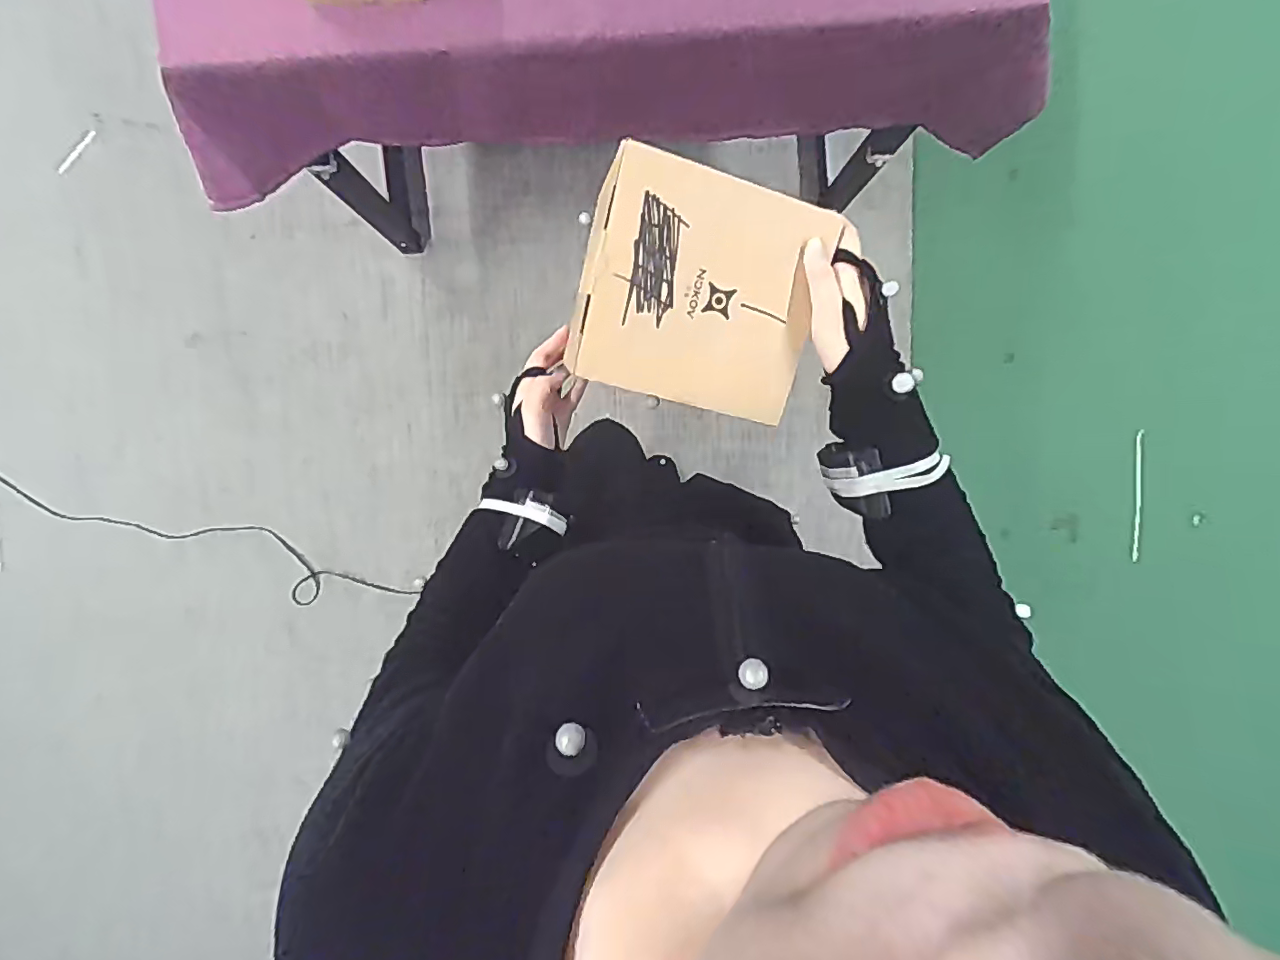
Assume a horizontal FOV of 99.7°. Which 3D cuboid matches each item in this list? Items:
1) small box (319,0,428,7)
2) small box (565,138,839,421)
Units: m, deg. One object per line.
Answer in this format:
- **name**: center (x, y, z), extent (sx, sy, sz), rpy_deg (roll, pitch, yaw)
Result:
- **small box**: center (-0.357, -0.718, 0.639), extent (0.168, 0.176, 0.179), rpy_deg (-2, 92, -1)
- **small box**: center (0.035, -0.163, 0.482), extent (0.179, 0.176, 0.168), rpy_deg (12, 104, -14)
